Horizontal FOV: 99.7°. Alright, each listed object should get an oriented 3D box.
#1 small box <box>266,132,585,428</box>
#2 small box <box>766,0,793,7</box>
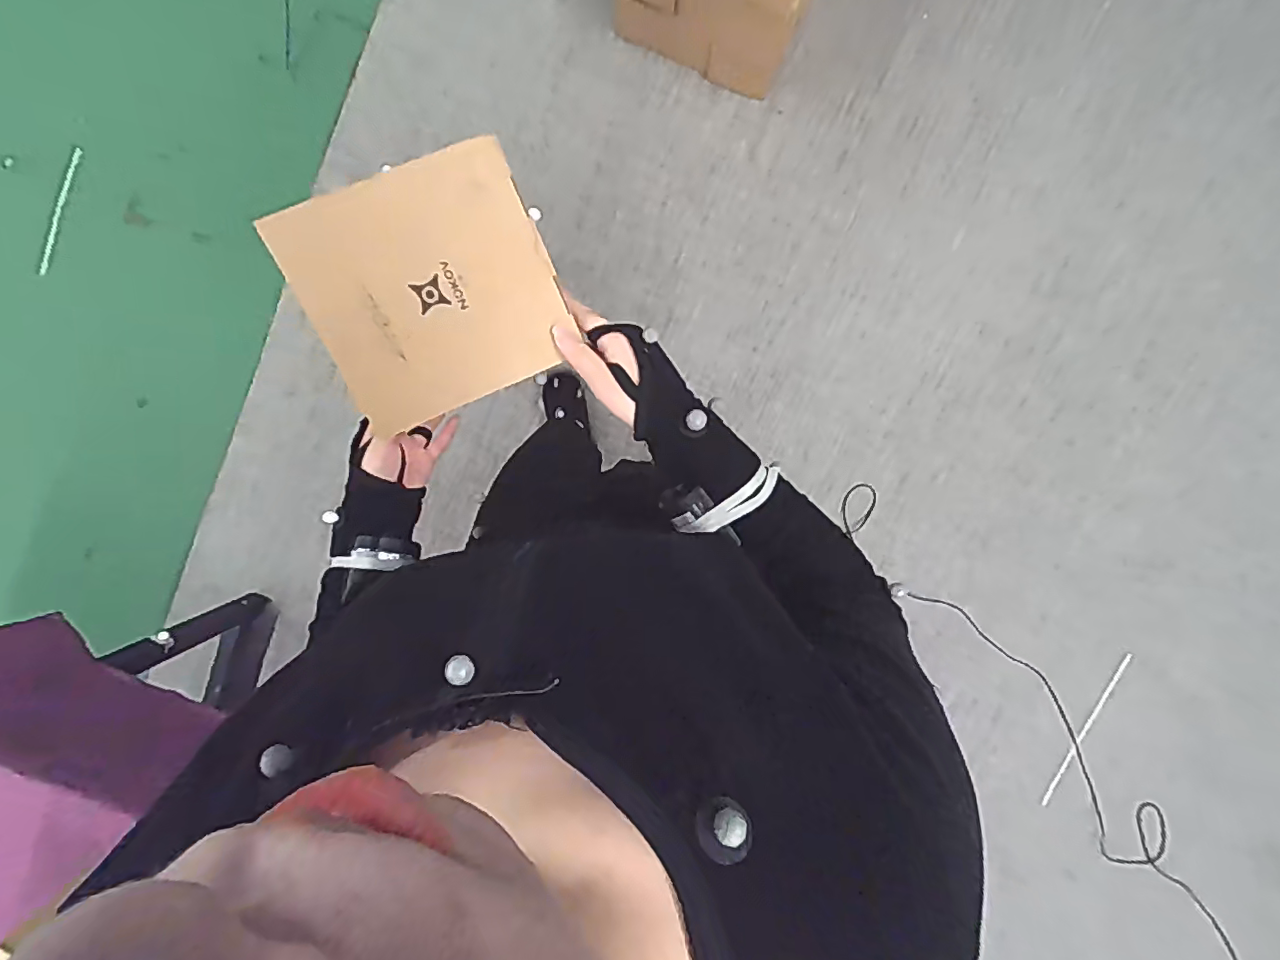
[{"bbox_3d":[-0.166,-0.164,0.474,0.179,0.176,0.168,-23,107,-5],"label":"small box"},{"bbox_3d":[0.251,-1.006,0.961,0.179,0.176,0.168,26,96,-1],"label":"small box"}]
